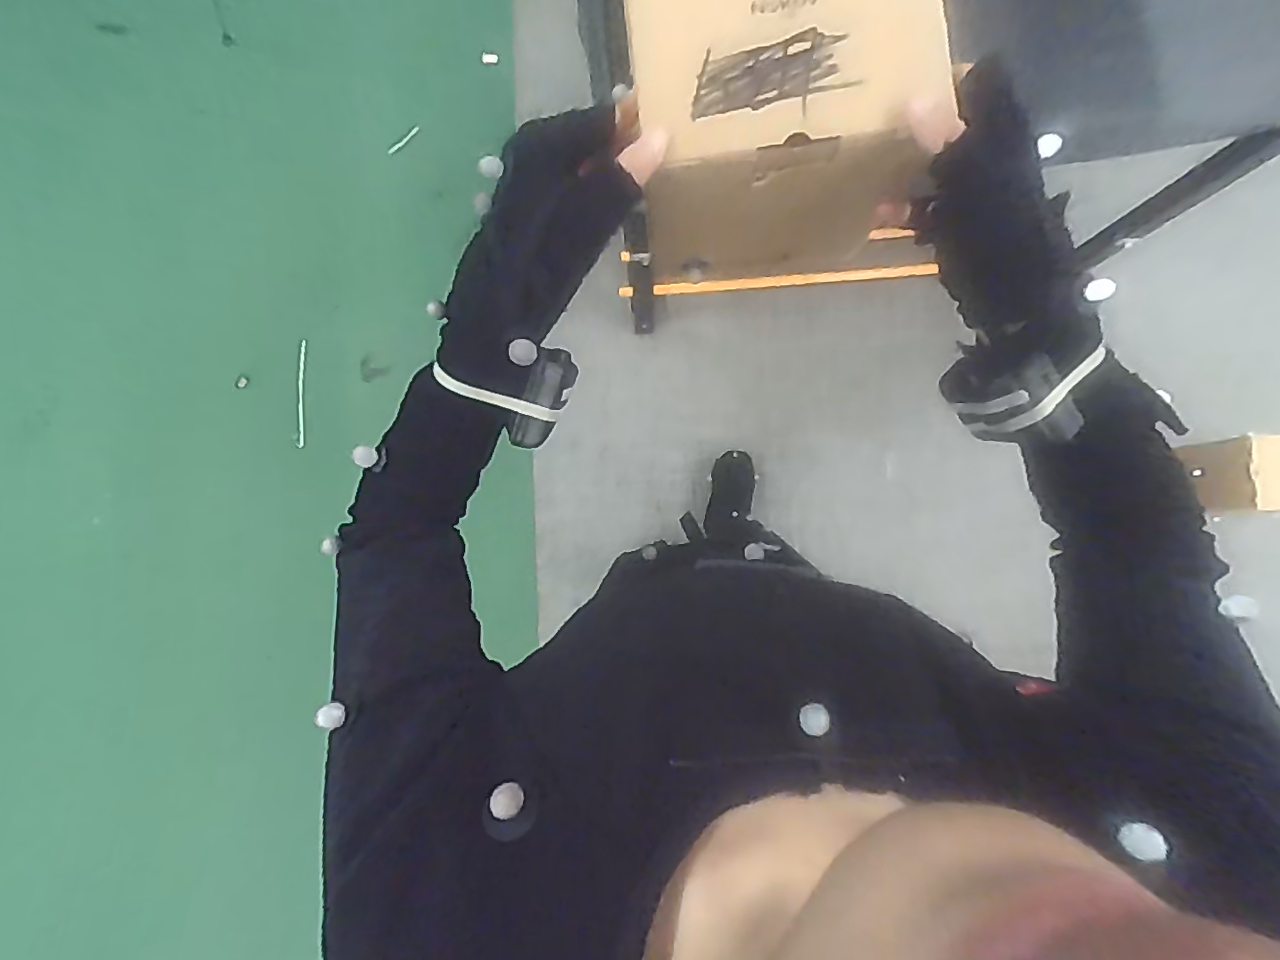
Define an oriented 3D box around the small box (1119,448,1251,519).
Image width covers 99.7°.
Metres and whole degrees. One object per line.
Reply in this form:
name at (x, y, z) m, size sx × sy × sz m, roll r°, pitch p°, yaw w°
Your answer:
small box at (1.403, 0.013, 1.402) m, size 0.179 × 0.176 × 0.168 m, roll 1°, pitch 83°, yaw 2°
